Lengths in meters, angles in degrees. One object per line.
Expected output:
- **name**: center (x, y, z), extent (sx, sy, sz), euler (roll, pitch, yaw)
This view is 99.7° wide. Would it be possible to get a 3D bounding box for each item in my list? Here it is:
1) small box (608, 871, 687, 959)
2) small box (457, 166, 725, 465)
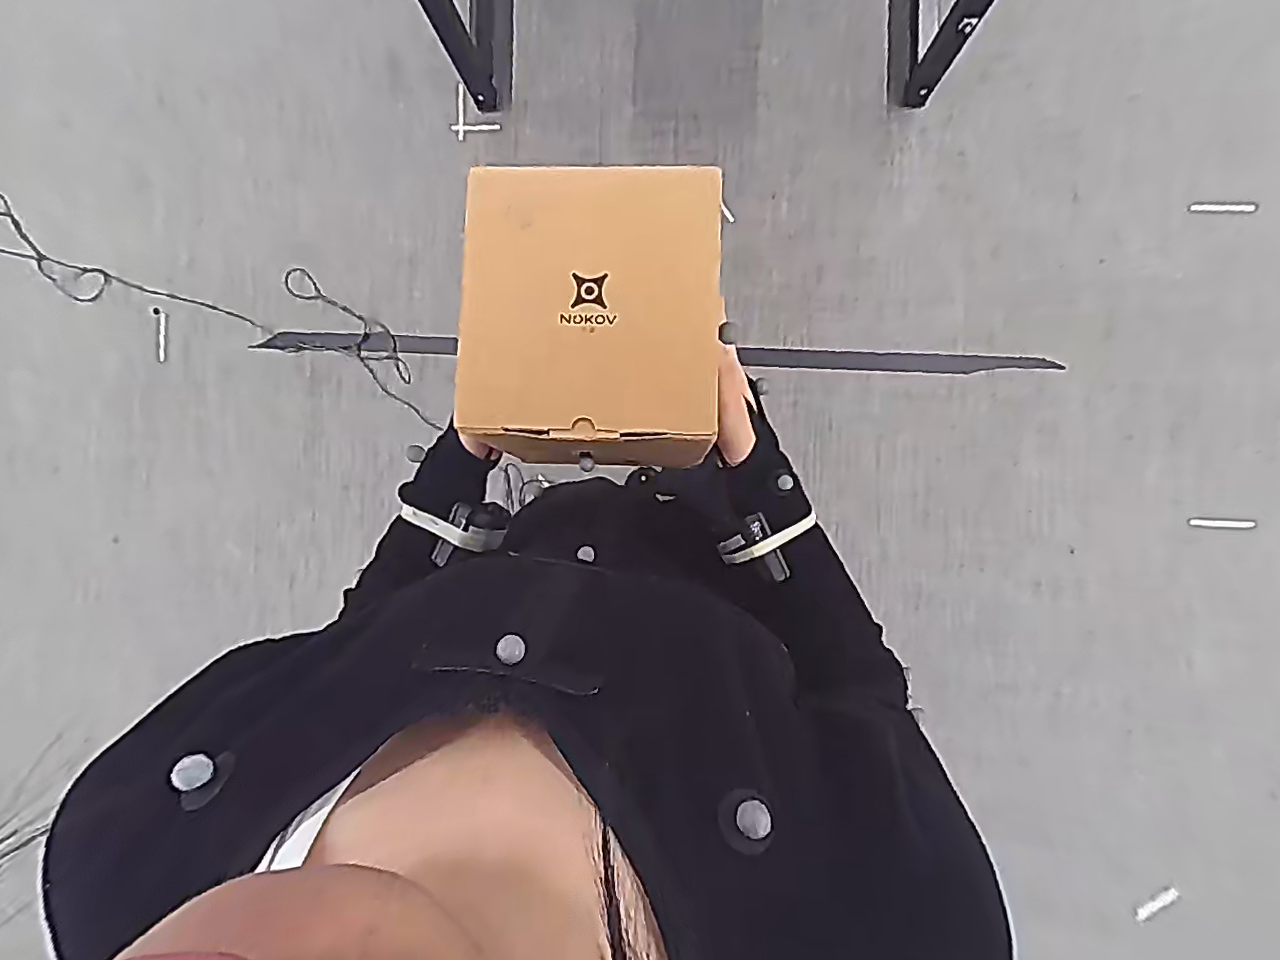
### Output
- **small box**: center (0.019, 1.172, 1.418), extent (0.179, 0.176, 0.168), euler (10, 91, 2)
- **small box**: center (-0.028, -0.109, 0.422), extent (0.168, 0.176, 0.179), euler (1, 86, 3)
